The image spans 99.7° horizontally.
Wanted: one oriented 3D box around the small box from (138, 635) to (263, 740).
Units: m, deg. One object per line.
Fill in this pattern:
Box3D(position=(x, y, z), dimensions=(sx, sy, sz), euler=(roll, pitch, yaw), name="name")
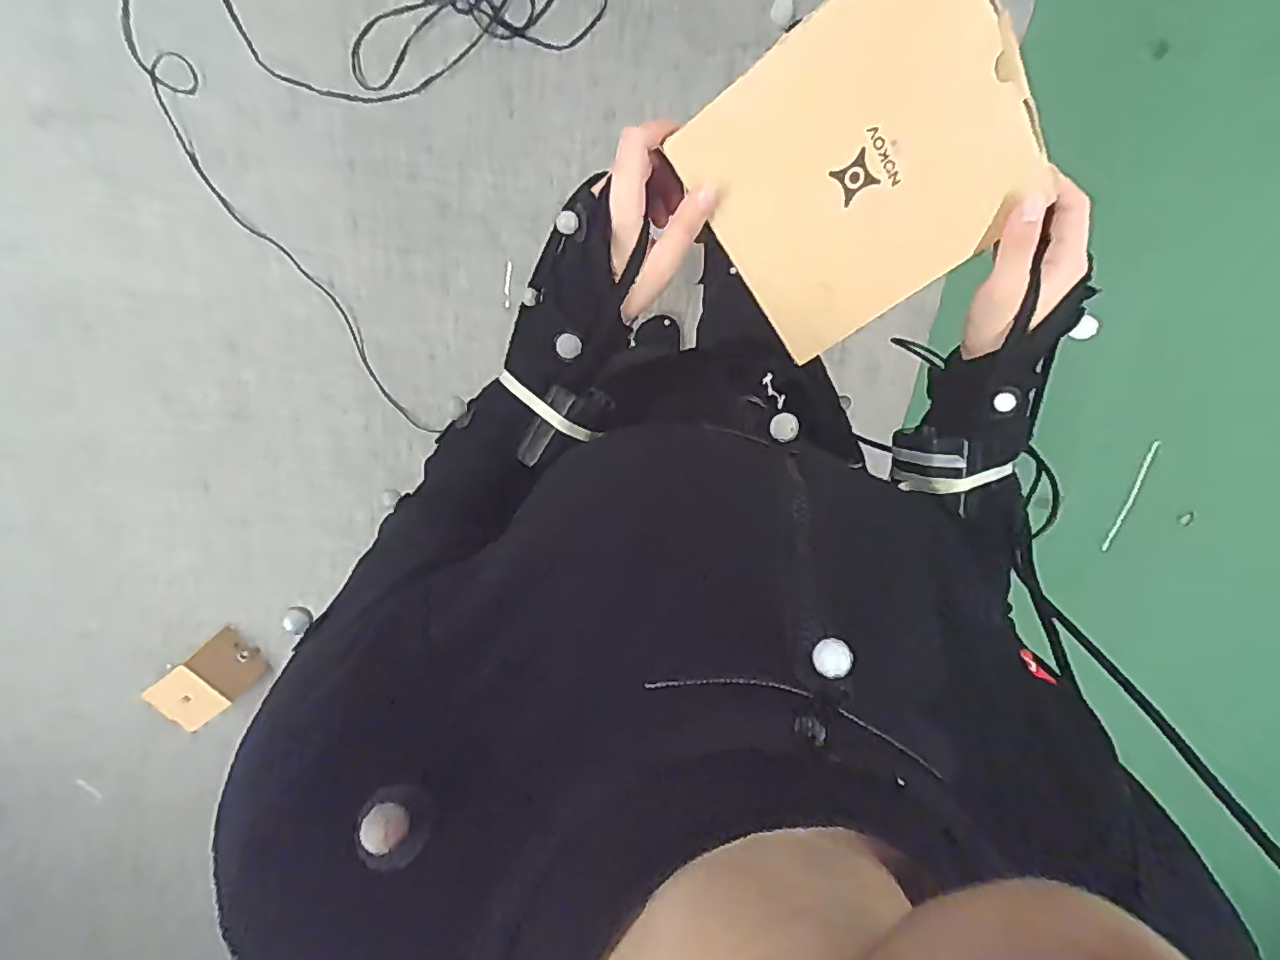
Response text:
Box3D(position=(-1.205, 0.570, 1.498), dimensions=(0.179, 0.176, 0.168), euler=(-35, 108, 11), name="small box")
